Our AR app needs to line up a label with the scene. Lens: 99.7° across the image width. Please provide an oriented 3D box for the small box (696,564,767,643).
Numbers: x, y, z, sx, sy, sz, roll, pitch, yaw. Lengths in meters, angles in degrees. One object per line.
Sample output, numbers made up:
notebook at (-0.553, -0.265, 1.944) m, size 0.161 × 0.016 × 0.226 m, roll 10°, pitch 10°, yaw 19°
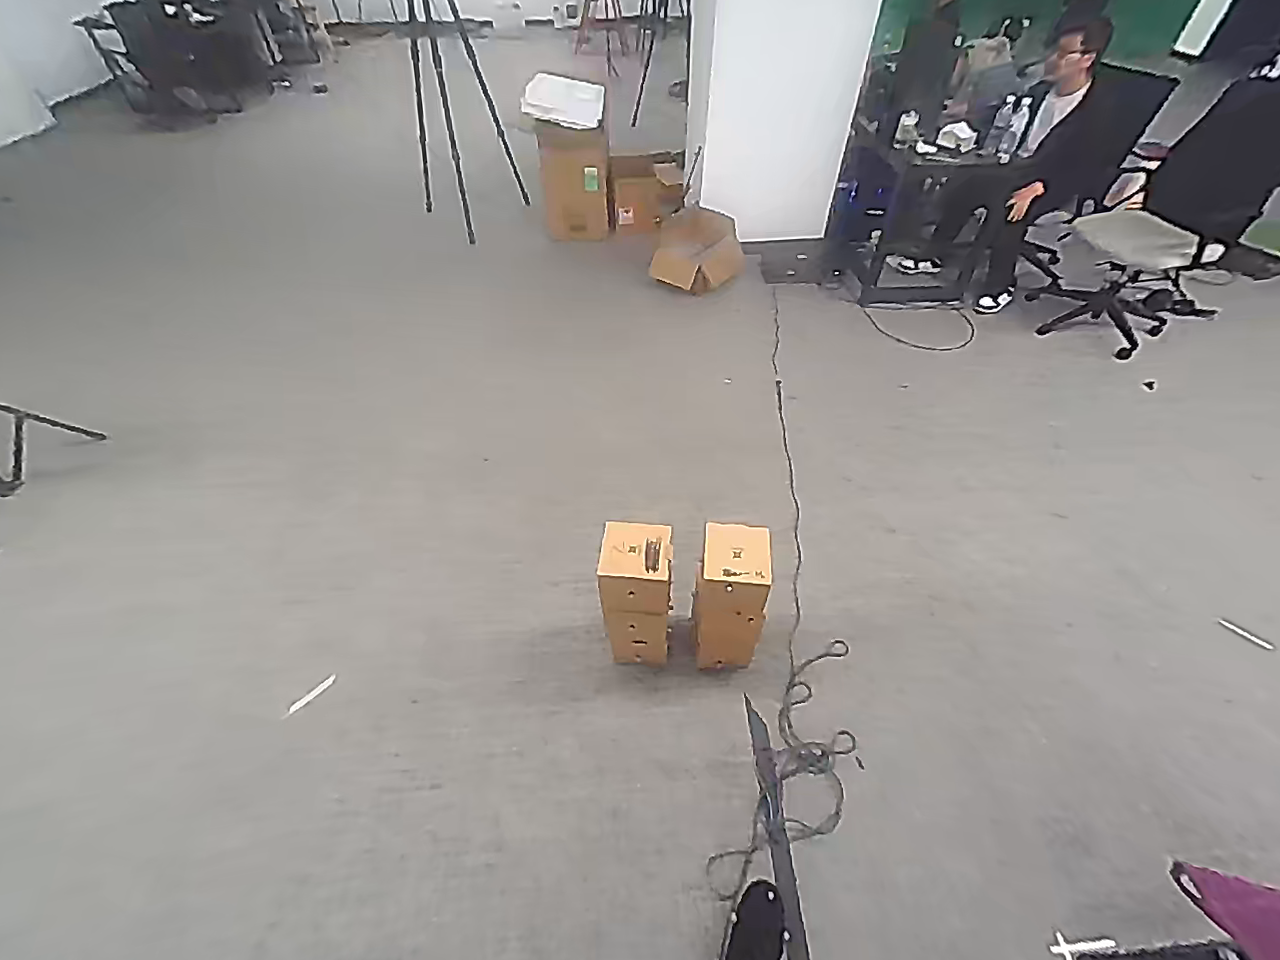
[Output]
small box at (0.251, 0.350, 1.532) m, size 0.179 × 0.176 × 0.168 m, roll -1°, pitch 47°, yaw 0°

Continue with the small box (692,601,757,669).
small box at (0.252, 0.459, 1.652) m, size 0.168 × 0.176 × 0.179 m, roll -2°, pitch 48°, yaw 0°

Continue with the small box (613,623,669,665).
small box at (0.006, 0.448, 1.661) m, size 0.168 × 0.176 × 0.179 m, roll 1°, pitch 48°, yaw 3°

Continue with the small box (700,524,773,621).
small box at (0.247, 0.241, 1.409) m, size 0.168 × 0.176 × 0.179 m, roll 5°, pitch 47°, yaw 5°

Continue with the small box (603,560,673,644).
small box at (-0.002, 0.349, 1.530) m, size 0.179 × 0.176 × 0.168 m, roll 4°, pitch 47°, yaw 6°
